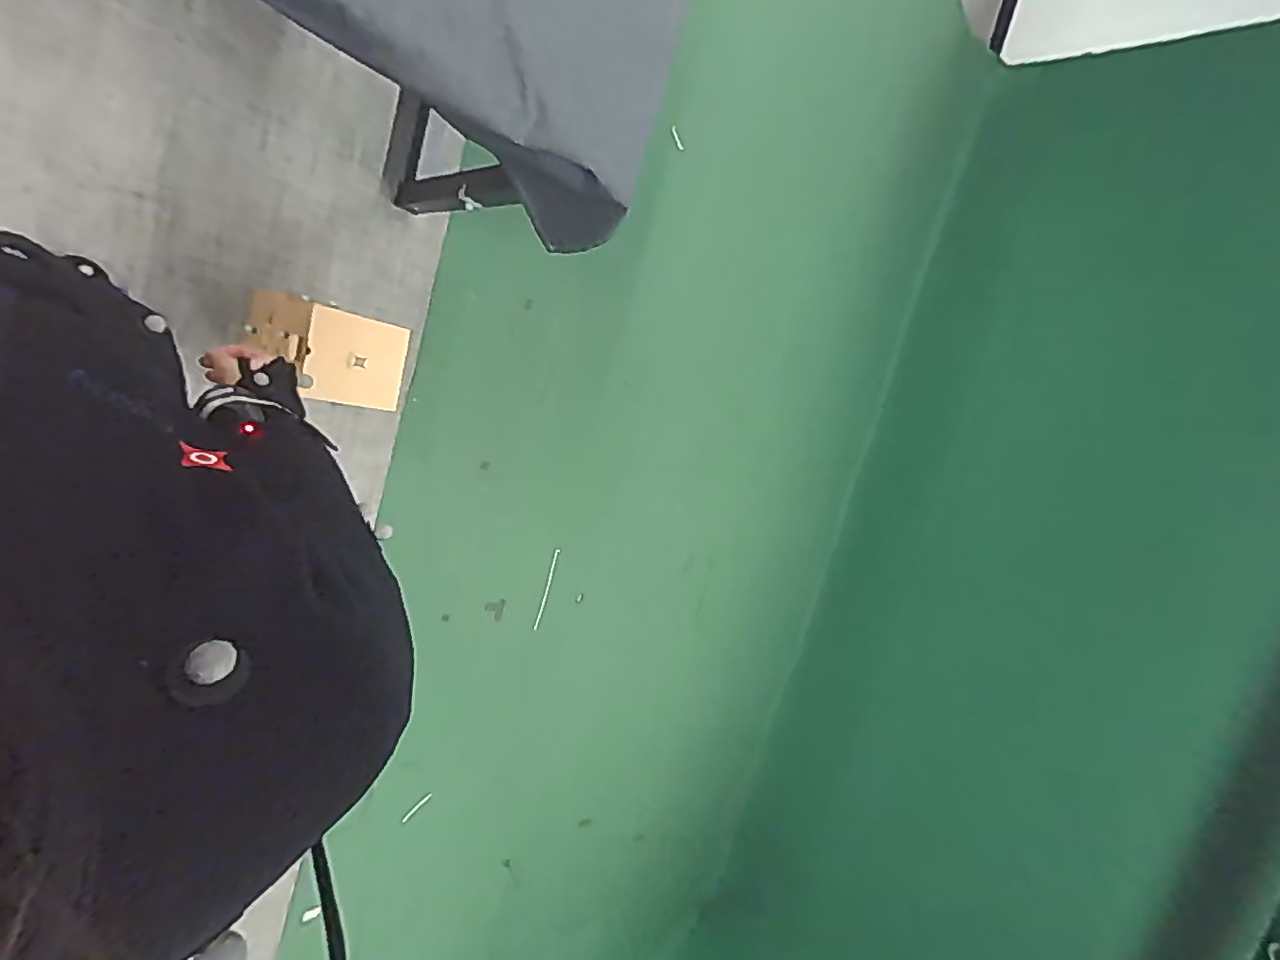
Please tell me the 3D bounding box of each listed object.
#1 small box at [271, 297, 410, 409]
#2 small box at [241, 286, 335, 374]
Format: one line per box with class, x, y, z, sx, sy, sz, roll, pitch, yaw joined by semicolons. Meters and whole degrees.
small box;-0.577;-0.246;1.042;0.179;0.176;0.168;5;103;-49
small box;-0.707;-0.295;1.132;0.179;0.176;0.168;7;100;-49
